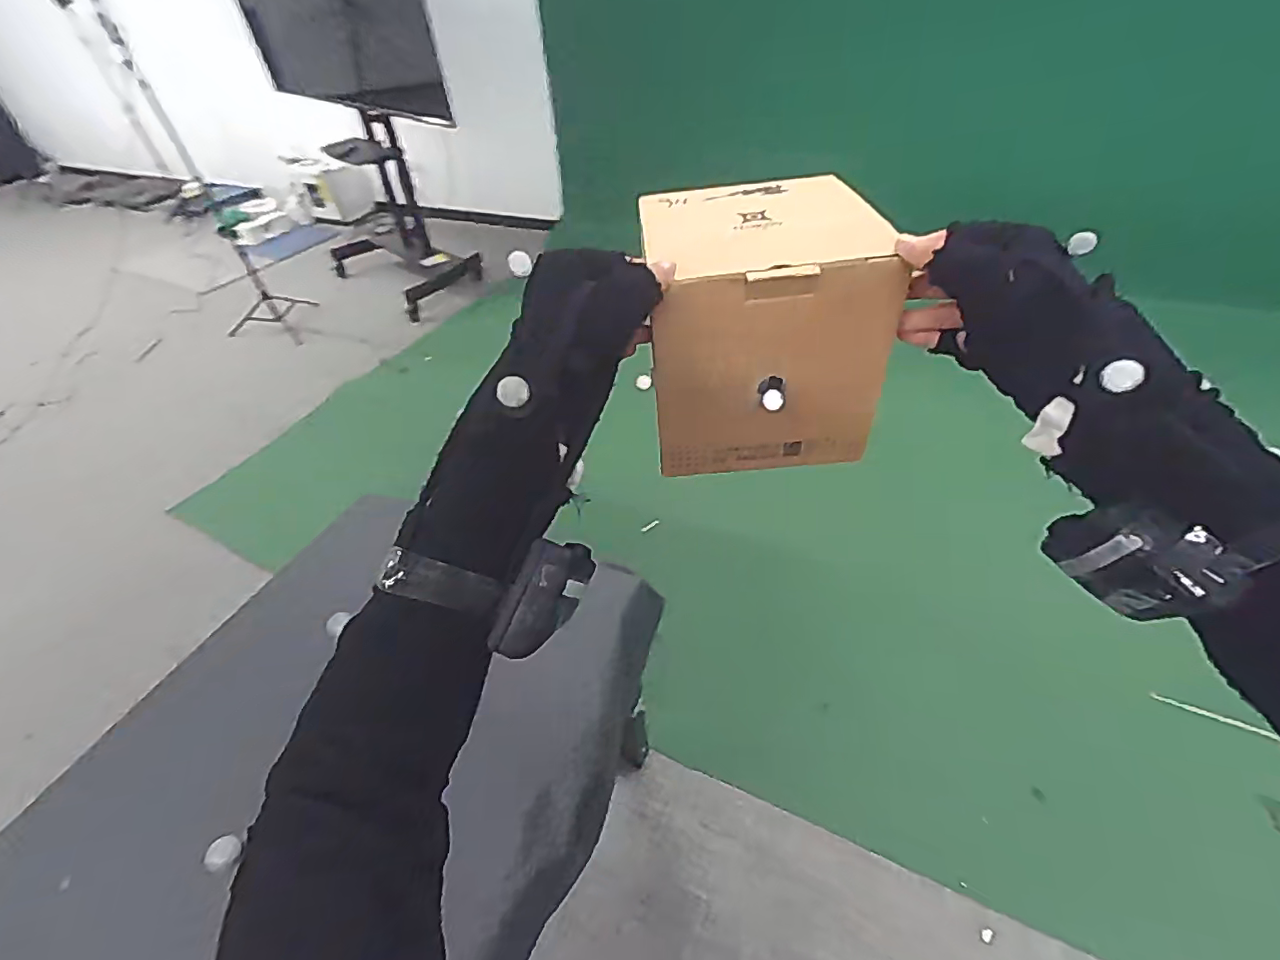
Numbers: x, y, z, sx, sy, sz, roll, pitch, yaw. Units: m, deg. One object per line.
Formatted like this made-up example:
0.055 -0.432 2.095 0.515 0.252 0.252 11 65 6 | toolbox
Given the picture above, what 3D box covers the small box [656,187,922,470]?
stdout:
0.102 -0.120 0.451 0.168 0.176 0.179 -4 43 3 | small box
